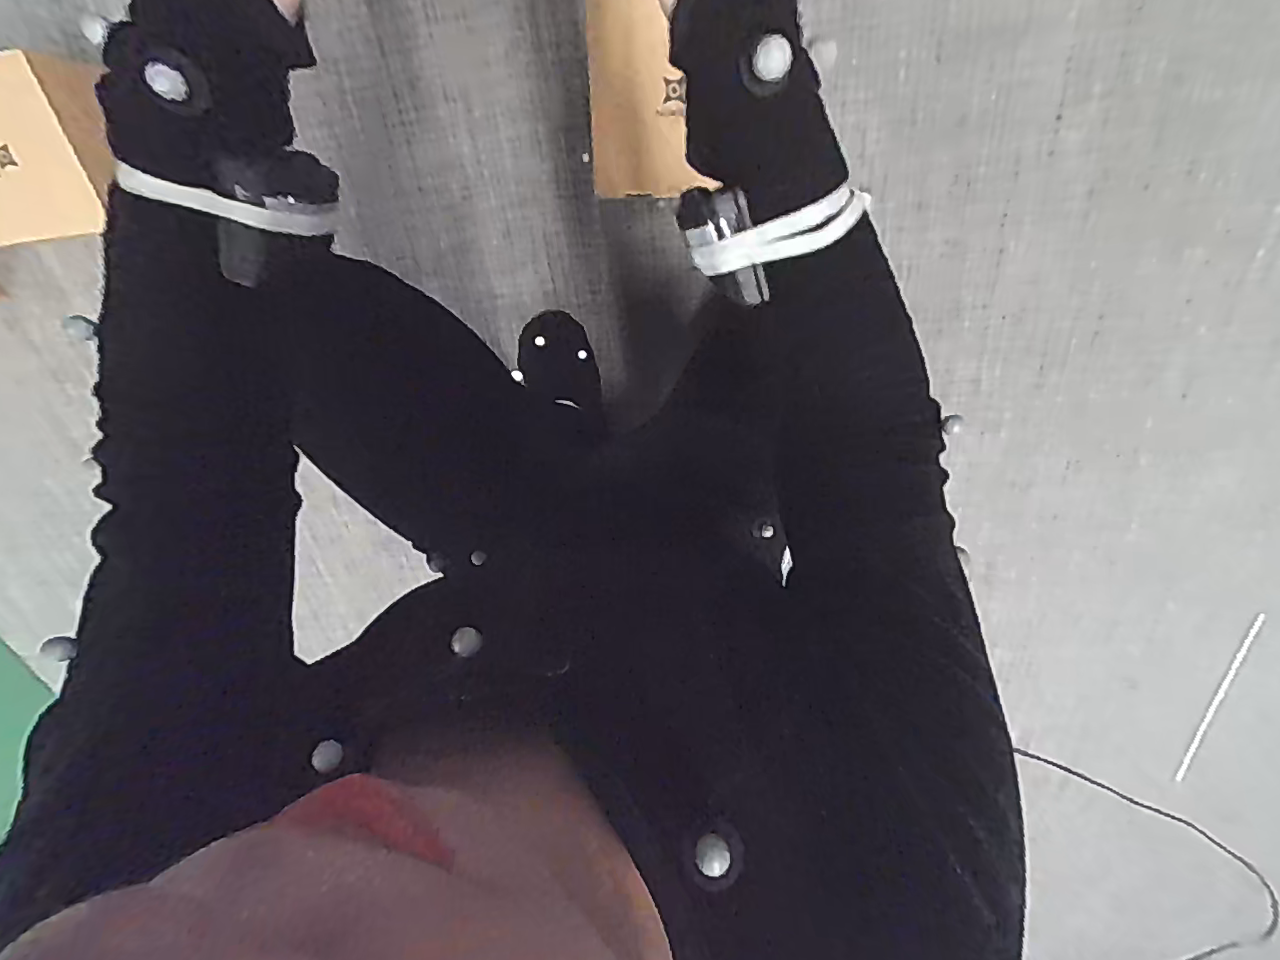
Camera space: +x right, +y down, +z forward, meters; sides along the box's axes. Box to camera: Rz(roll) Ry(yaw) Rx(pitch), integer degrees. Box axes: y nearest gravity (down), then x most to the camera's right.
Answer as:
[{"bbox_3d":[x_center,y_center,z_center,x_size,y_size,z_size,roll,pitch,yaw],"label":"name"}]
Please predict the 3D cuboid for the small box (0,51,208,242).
[{"bbox_3d":[-0.675,-0.389,0.651,0.179,0.176,0.168,-4,117,5],"label":"small box"}]
